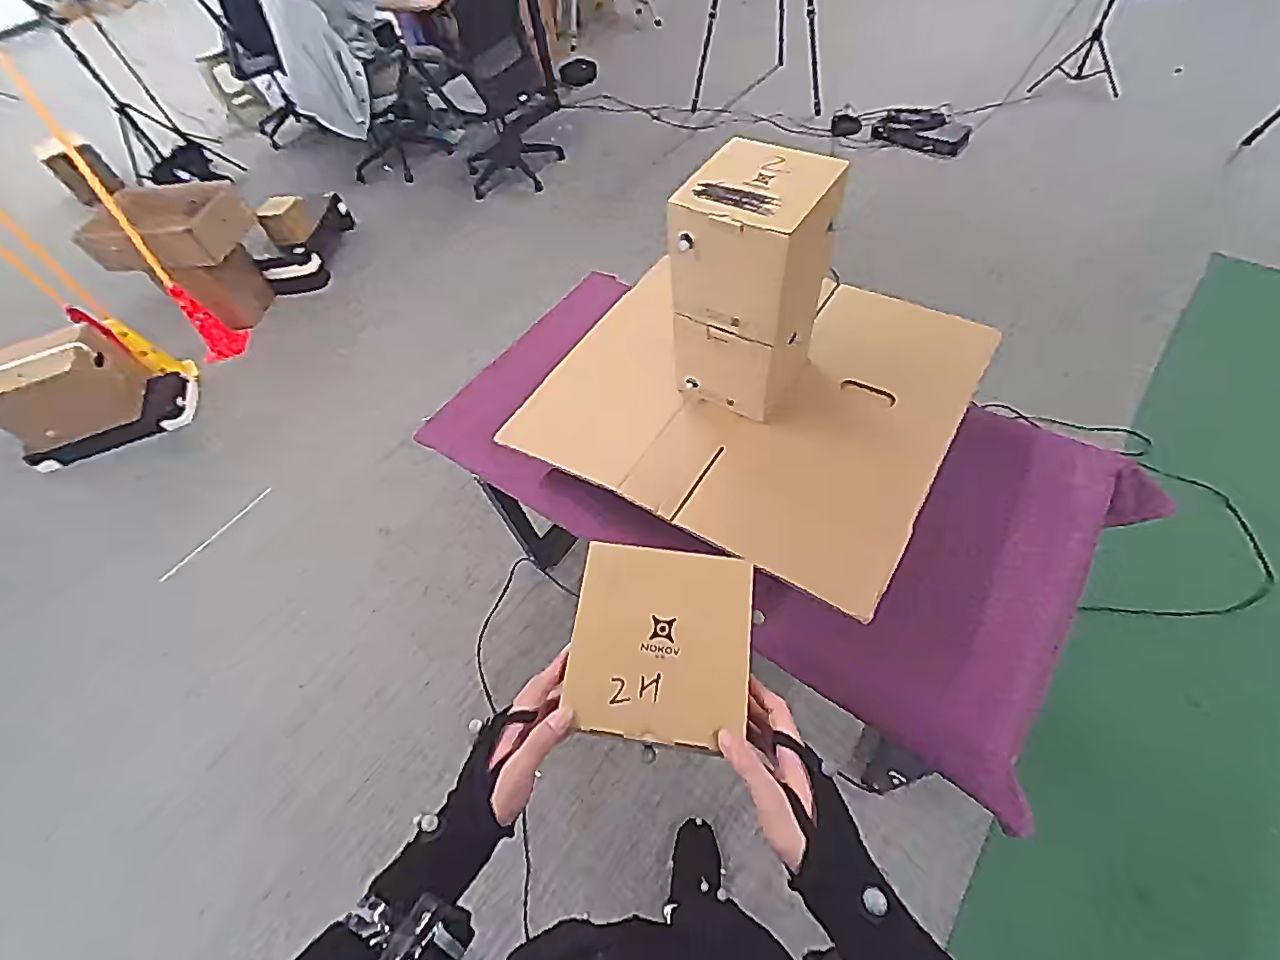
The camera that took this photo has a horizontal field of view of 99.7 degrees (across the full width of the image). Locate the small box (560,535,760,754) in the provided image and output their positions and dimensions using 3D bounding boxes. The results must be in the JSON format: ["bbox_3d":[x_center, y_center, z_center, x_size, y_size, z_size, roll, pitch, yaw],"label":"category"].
[{"bbox_3d":[0.025,0.177,0.567,0.168,0.176,0.179,7,64,6],"label":"small box"}]

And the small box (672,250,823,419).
[{"bbox_3d":[0.169,-0.228,0.865,0.168,0.176,0.179,27,63,21],"label":"small box"}]
